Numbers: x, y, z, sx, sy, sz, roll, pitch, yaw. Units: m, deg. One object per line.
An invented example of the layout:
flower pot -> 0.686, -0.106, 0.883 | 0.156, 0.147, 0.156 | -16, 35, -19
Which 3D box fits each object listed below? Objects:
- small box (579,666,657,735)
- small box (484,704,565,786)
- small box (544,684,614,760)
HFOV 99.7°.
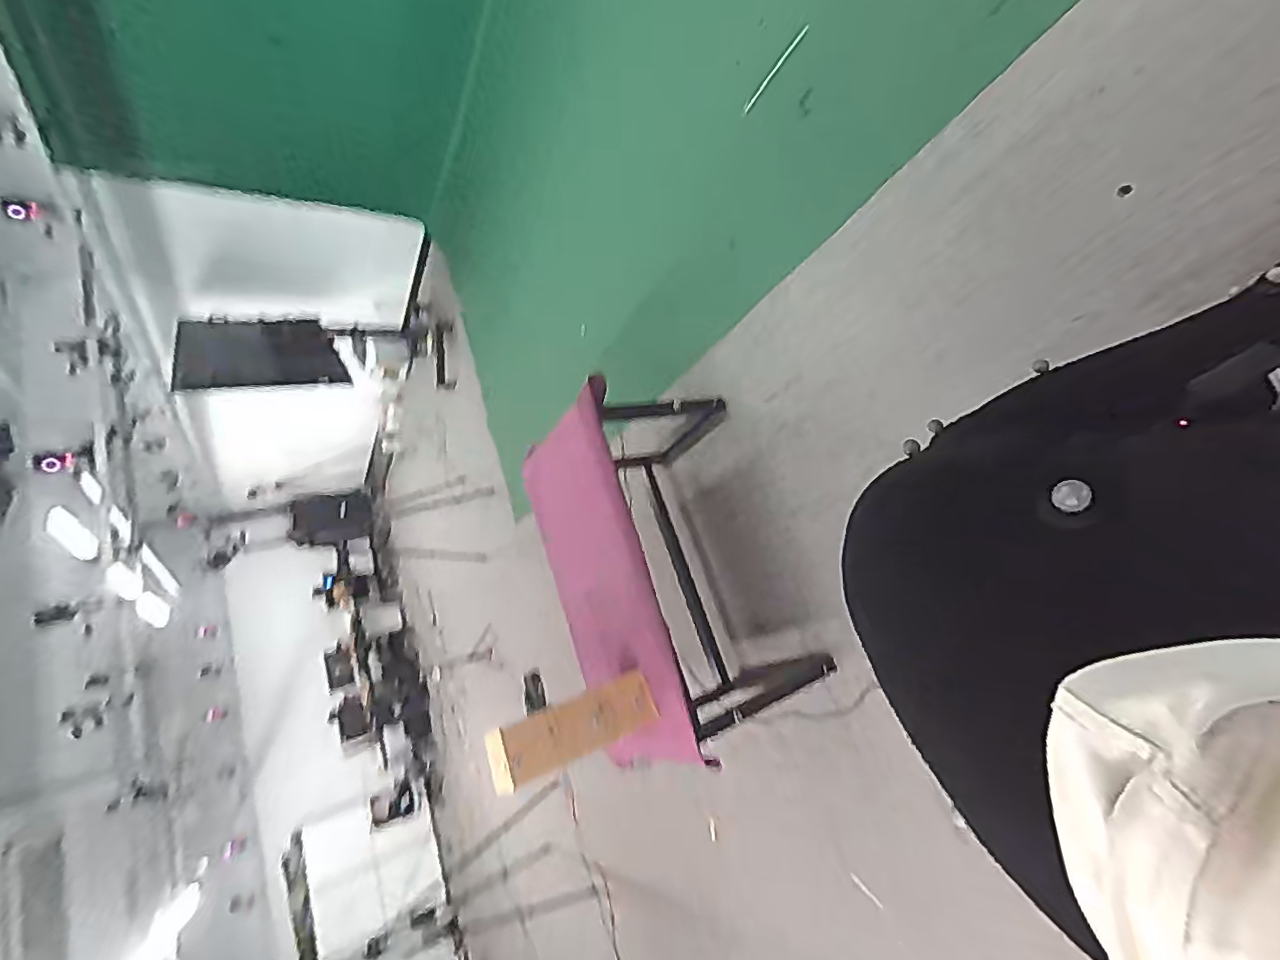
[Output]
small box -> -0.072, 0.727, 1.768 | 0.179, 0.176, 0.168 | -44, 61, 49
small box -> -0.338, 0.772, 1.581 | 0.179, 0.176, 0.168 | -43, 62, 51
small box -> -0.203, 0.752, 1.672 | 0.179, 0.176, 0.168 | -46, 60, 49
